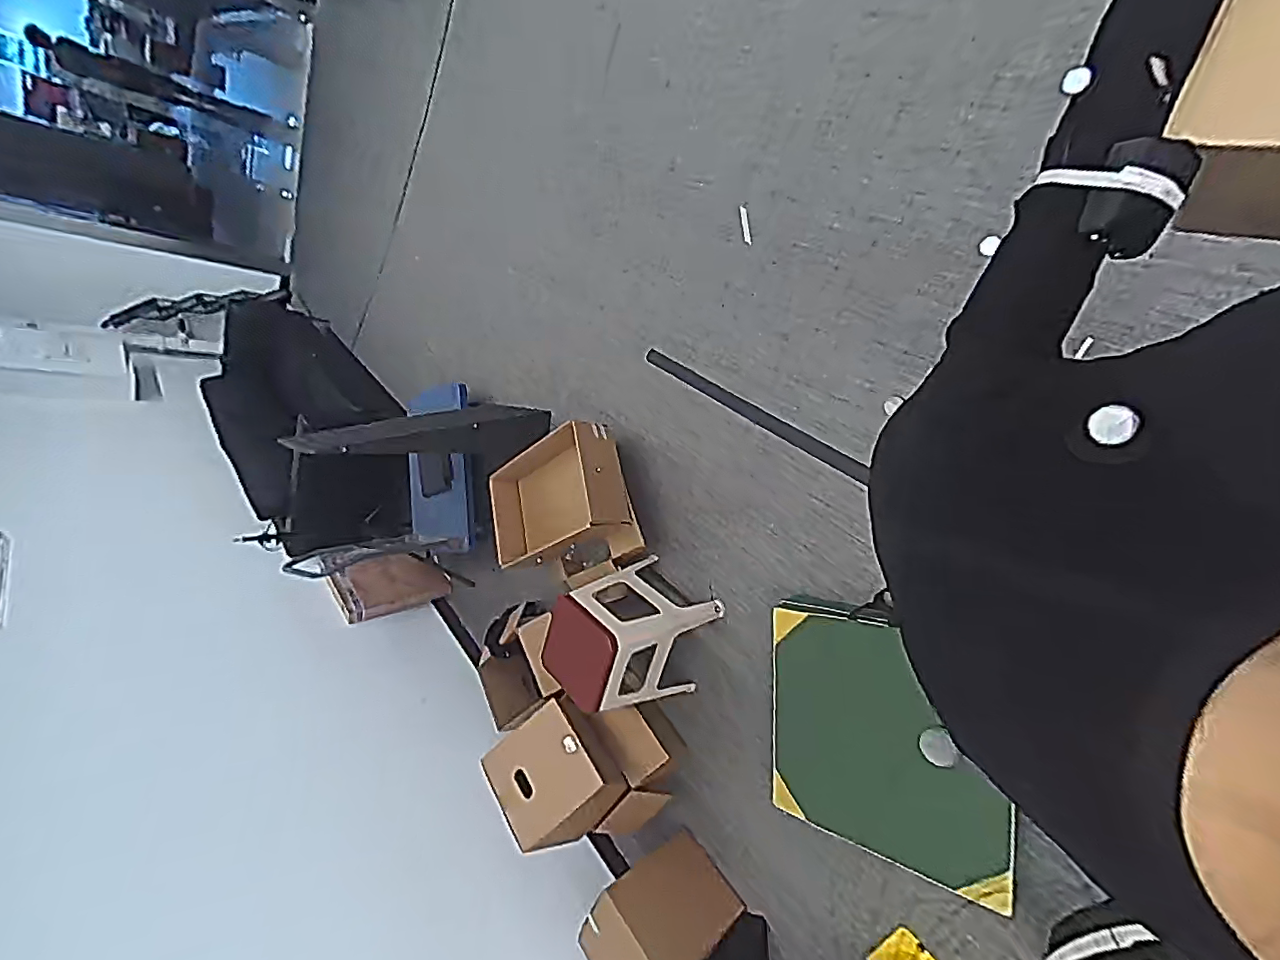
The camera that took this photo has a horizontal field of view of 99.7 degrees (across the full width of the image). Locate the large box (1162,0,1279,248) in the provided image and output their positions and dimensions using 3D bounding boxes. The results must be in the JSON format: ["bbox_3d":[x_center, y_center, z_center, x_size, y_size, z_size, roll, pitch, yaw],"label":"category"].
[{"bbox_3d":[0.632,-0.313,0.313,0.408,0.320,0.320,29,117,37],"label":"large box"}]
